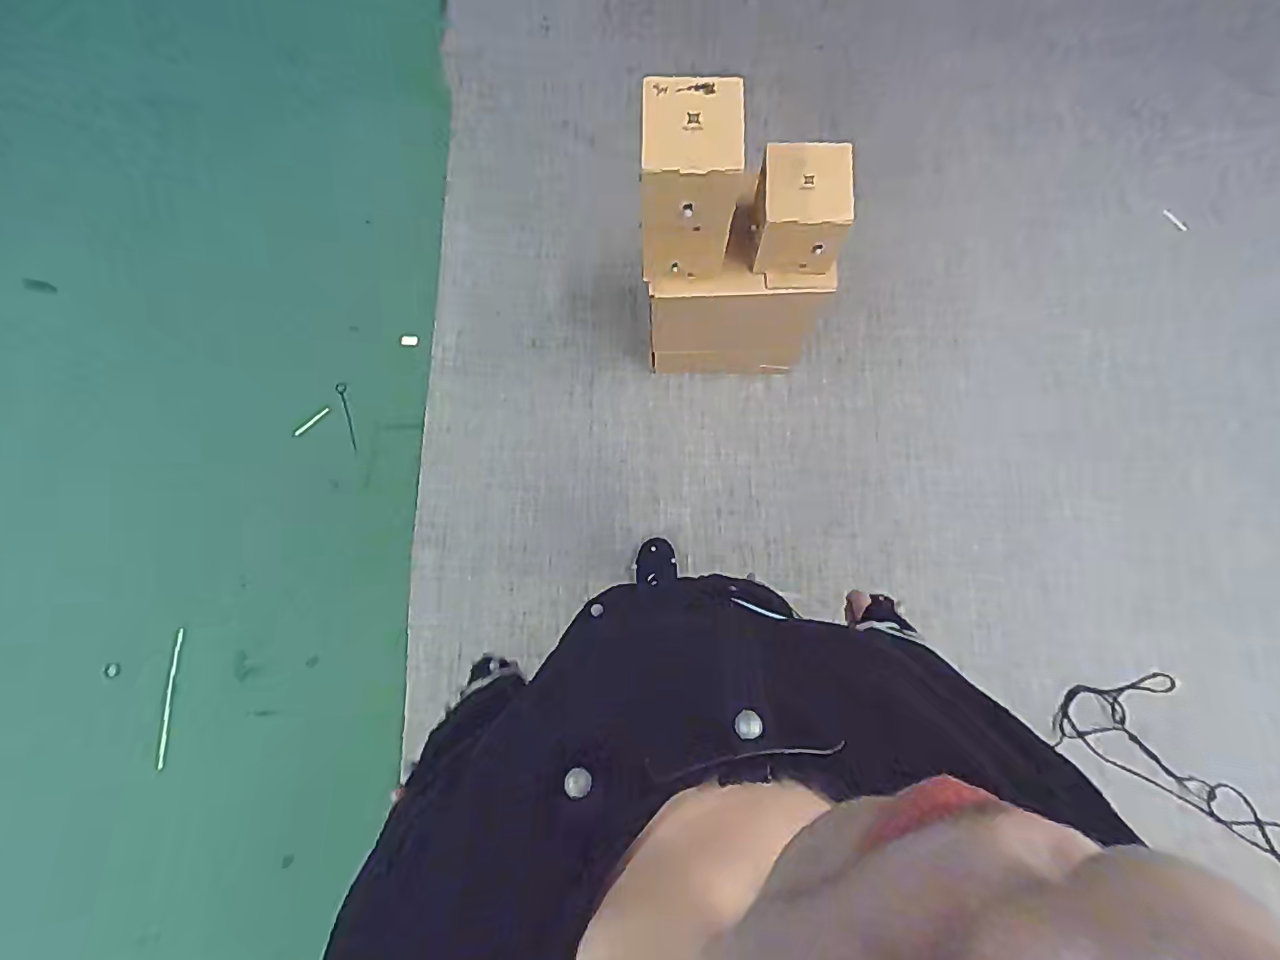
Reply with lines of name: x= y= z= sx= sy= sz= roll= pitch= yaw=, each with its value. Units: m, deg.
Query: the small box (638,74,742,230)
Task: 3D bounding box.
small box: x=0.083 y=-0.561 z=0.942 sx=0.168 sy=0.176 sz=0.179 roll=1 pitch=82 yaw=1

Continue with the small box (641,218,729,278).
small box: x=0.087 y=-0.539 z=1.105 sx=0.168 sy=0.176 sz=0.179 roll=0 pitch=81 yaw=1

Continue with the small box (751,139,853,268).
small box: x=0.323 y=-0.553 z=1.098 sx=0.168 sy=0.176 sz=0.179 roll=3 pitch=79 yaw=3
